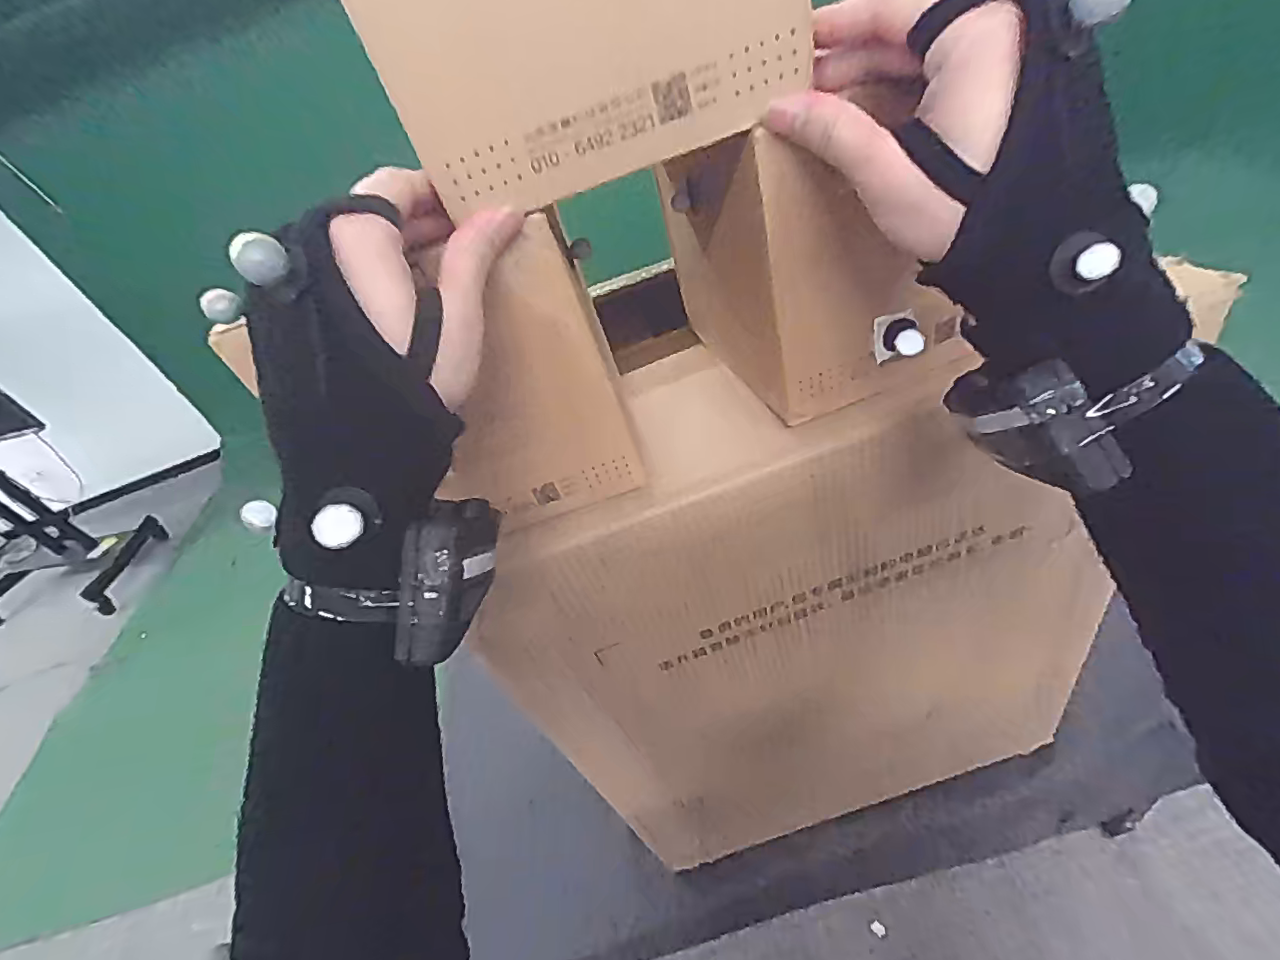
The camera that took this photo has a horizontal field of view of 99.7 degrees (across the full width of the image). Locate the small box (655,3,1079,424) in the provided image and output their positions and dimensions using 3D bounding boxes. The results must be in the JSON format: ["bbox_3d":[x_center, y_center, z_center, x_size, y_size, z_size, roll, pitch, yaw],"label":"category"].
[{"bbox_3d":[0.118,-0.166,0.349,0.168,0.176,0.179,-25,41,-2],"label":"small box"}]

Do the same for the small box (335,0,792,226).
[{"bbox_3d":[-0.045,-0.238,0.247,0.168,0.176,0.179,-20,39,3],"label":"small box"}]

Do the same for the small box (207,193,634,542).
[{"bbox_3d":[-0.112,-0.080,0.356,0.168,0.176,0.179,-19,39,4],"label":"small box"}]
